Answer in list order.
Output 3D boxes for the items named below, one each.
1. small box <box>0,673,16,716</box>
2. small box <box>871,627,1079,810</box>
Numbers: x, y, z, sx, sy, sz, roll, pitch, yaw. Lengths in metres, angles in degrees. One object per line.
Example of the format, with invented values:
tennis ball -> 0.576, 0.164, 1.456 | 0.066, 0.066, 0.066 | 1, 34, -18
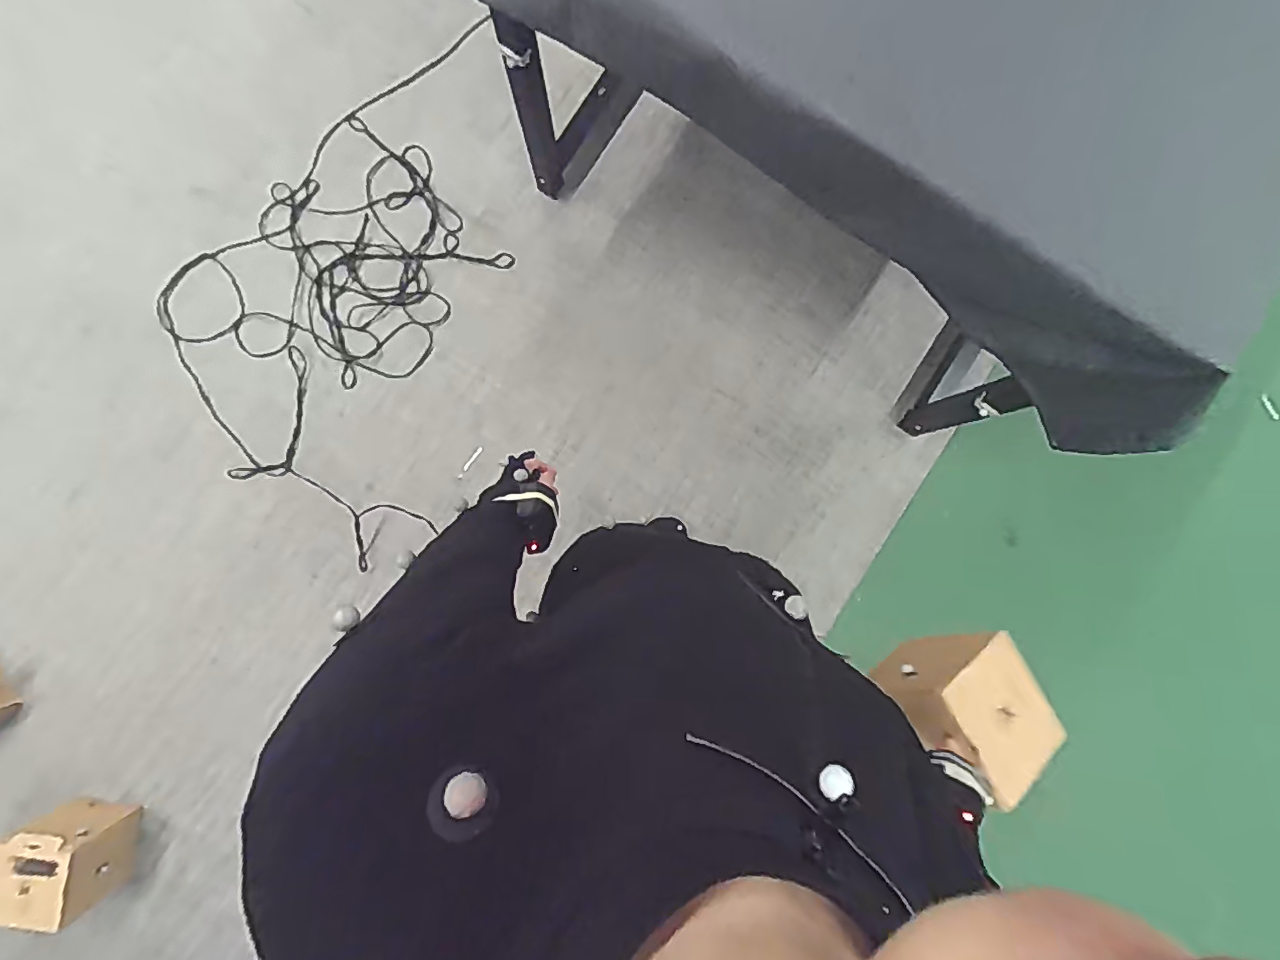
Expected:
small box -> -1.599, 0.514, 1.211 | 0.179, 0.176, 0.168 | -37, 88, -4
small box -> 0.465, 0.332, 0.778 | 0.179, 0.176, 0.168 | -22, 82, -29
